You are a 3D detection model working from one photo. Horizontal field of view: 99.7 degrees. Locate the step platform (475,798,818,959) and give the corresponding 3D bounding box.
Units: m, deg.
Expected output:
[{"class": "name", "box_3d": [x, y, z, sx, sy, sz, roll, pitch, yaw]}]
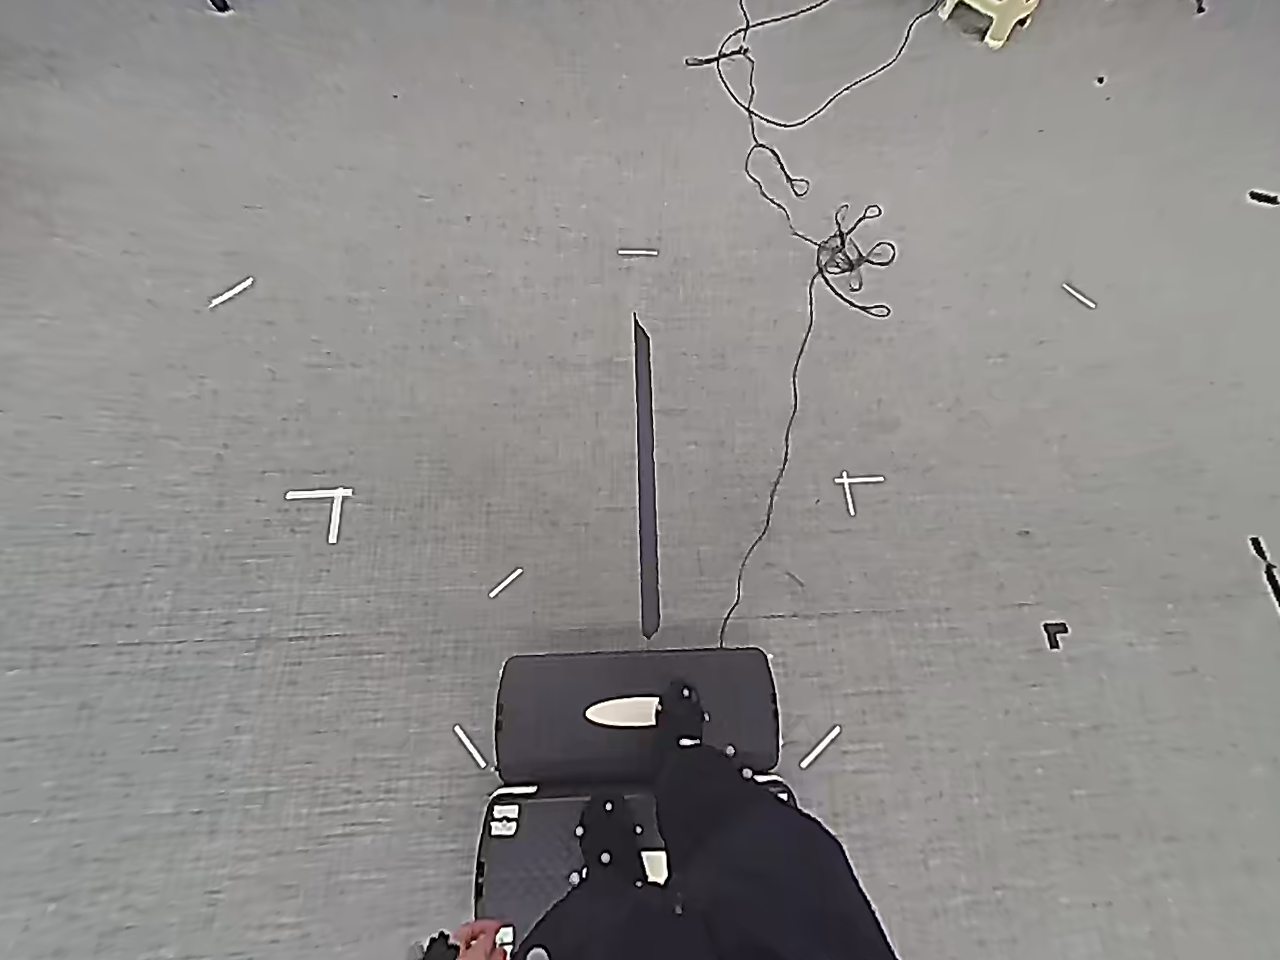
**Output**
[{"class": "step platform", "box_3d": [0.014, 0.849, 1.129, 0.684, 0.204, 0.286, 3, 66, -1]}]
